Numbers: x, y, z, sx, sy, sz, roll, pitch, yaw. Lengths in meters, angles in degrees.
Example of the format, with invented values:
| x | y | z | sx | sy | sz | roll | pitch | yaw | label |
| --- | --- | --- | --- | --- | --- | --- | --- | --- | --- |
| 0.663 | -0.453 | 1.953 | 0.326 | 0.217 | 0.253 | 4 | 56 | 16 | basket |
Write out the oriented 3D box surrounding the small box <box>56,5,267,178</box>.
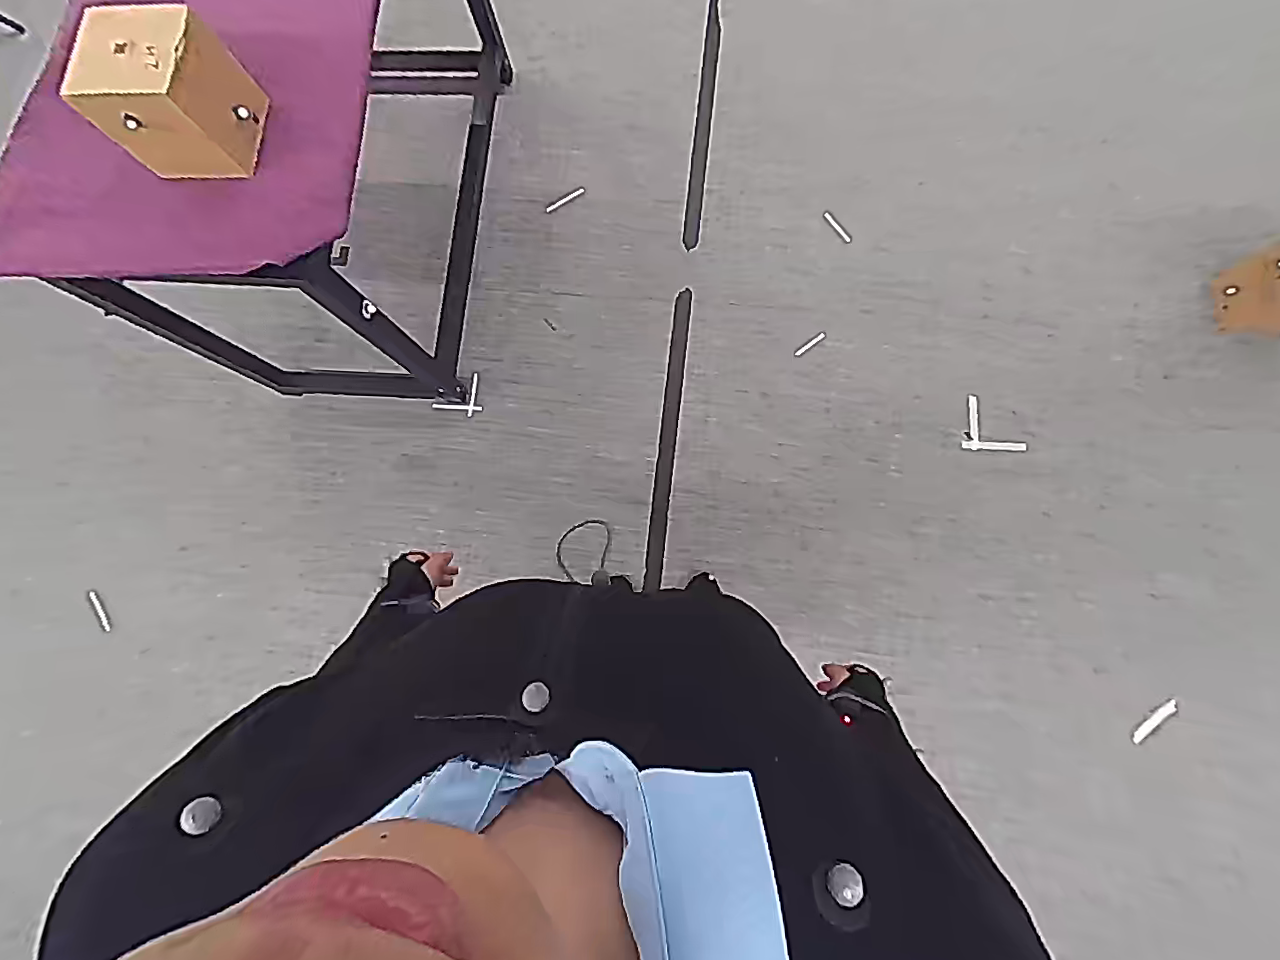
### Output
| x | y | z | sx | sy | sz | roll | pitch | yaw | label |
| --- | --- | --- | --- | --- | --- | --- | --- | --- | --- |
| -0.764 | -0.623 | 0.883 | 0.179 | 0.176 | 0.168 | 2 | 79 | 3 | small box |

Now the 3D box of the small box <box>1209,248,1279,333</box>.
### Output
| x | y | z | sx | sy | sz | roll | pitch | yaw | label |
| --- | --- | --- | --- | --- | --- | --- | --- | --- | --- |
| 1.738 | -0.514 | 1.478 | 0.179 | 0.176 | 0.168 | 0 | 79 | 3 | small box |
